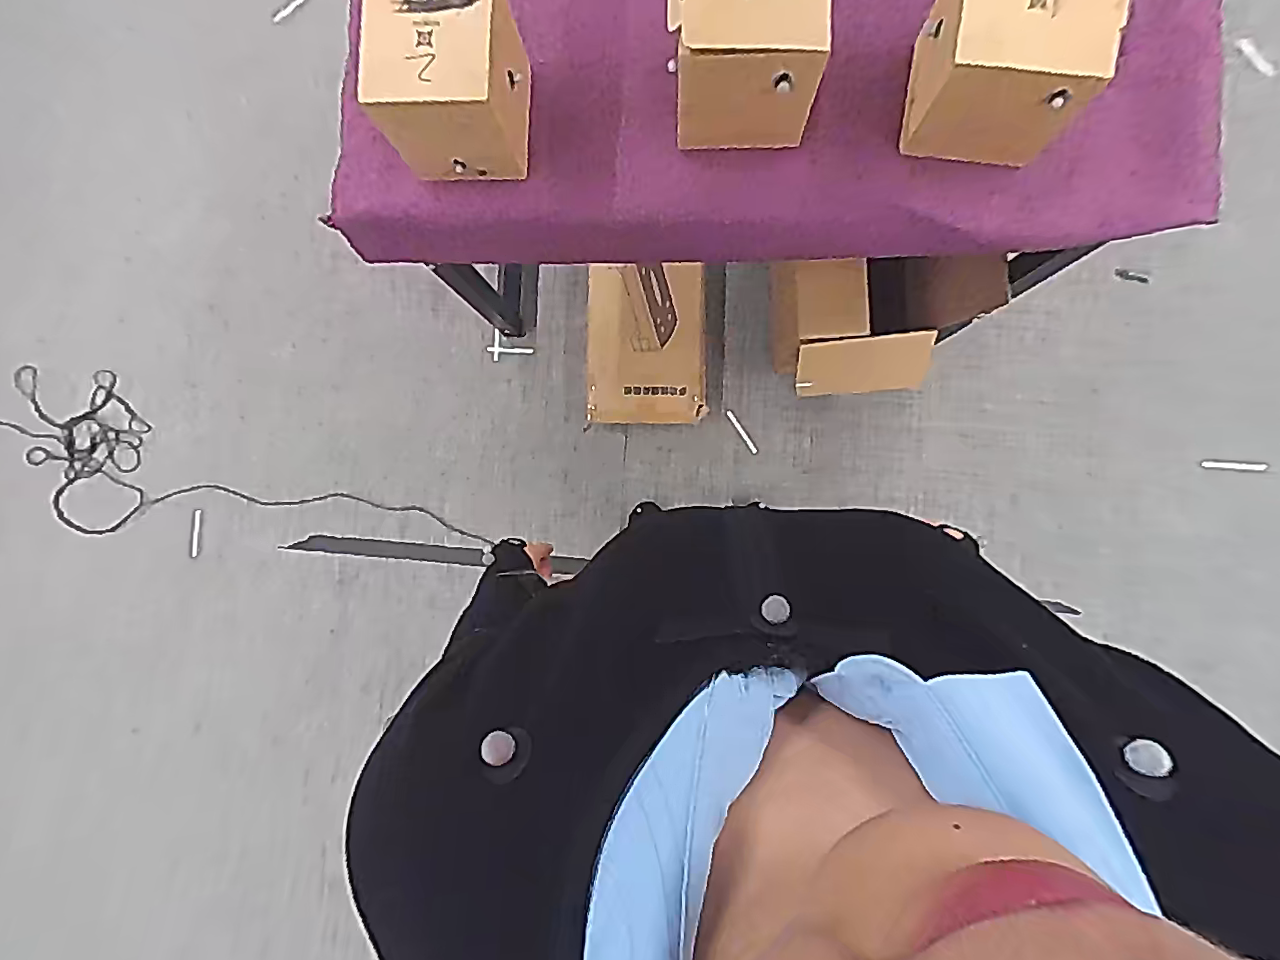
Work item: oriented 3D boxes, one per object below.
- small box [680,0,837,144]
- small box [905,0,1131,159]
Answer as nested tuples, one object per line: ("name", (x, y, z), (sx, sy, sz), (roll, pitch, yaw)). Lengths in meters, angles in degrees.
("small box", (0.142, -0.567, 0.700), (0.179, 0.176, 0.168), (1, 86, 4))
("small box", (0.459, -0.535, 0.679), (0.179, 0.176, 0.168), (8, 89, 4))
